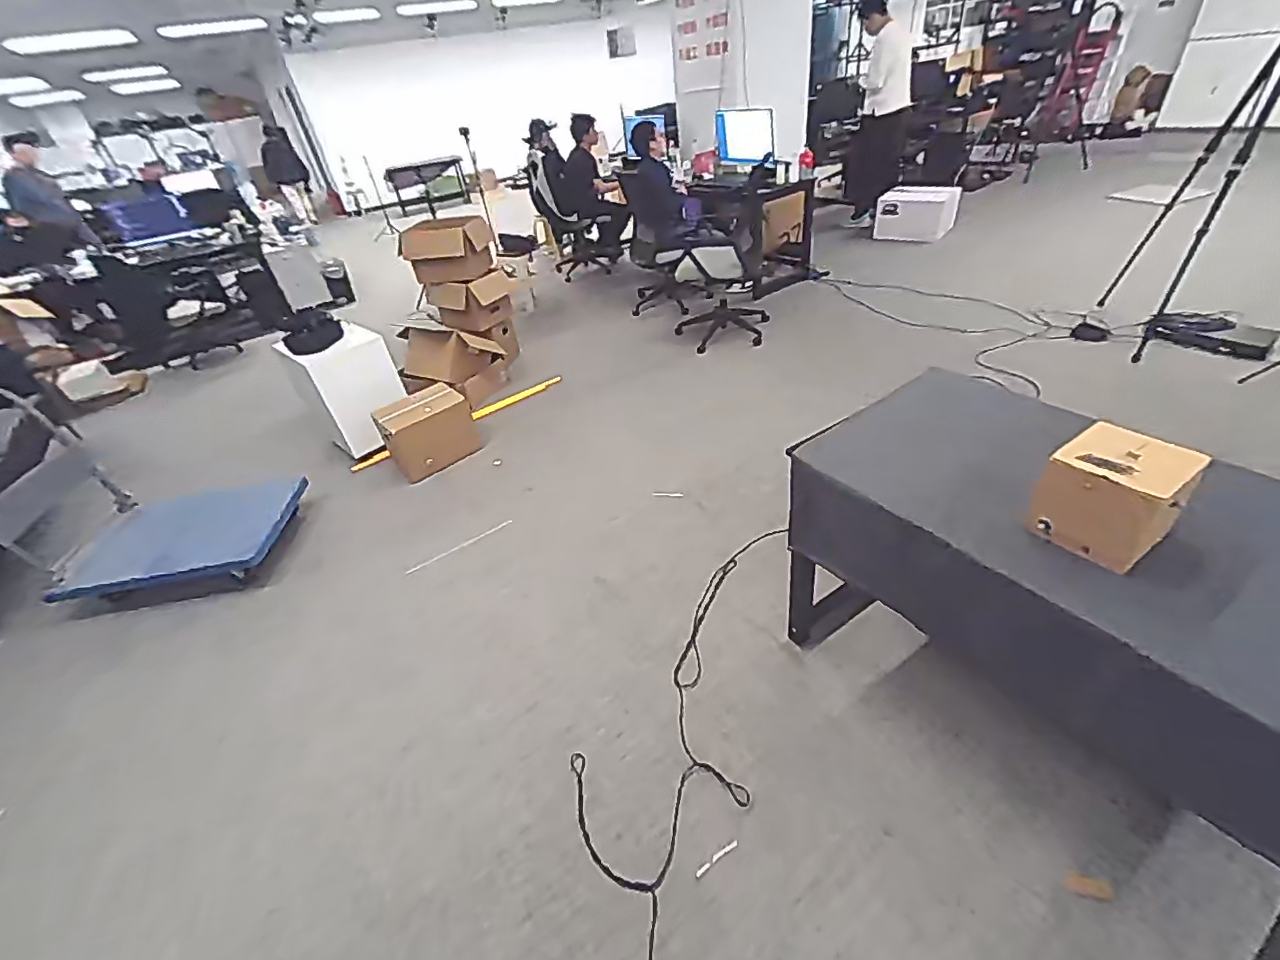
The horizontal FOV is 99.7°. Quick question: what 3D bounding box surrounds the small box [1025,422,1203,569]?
[{"bbox_3d":[0.828,0.027,0.965,0.179,0.176,0.168,-26,40,-22],"label":"small box"}]
